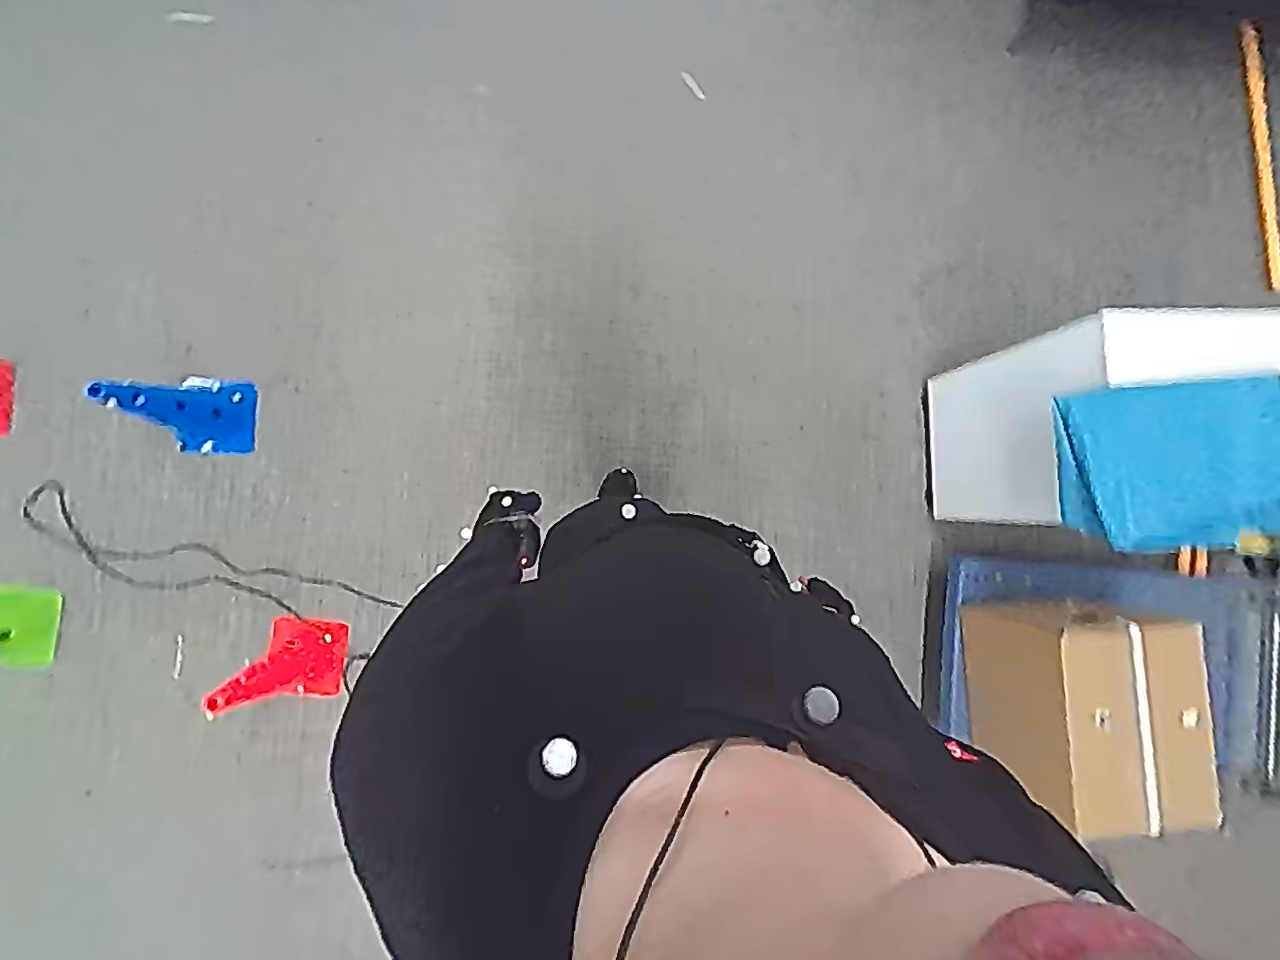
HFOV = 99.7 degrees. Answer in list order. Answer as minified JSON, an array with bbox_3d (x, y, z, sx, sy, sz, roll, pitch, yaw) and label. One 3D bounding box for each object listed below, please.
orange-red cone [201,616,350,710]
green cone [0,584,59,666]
[{"bbox_3d":[-0.878,0.458,1.265,0.199,0.360,0.198,8,86,-2],"label":"orange-red cone"},{"bbox_3d":[-1.602,0.366,1.221,0.202,0.368,0.200,6,87,-4],"label":"green cone"}]
